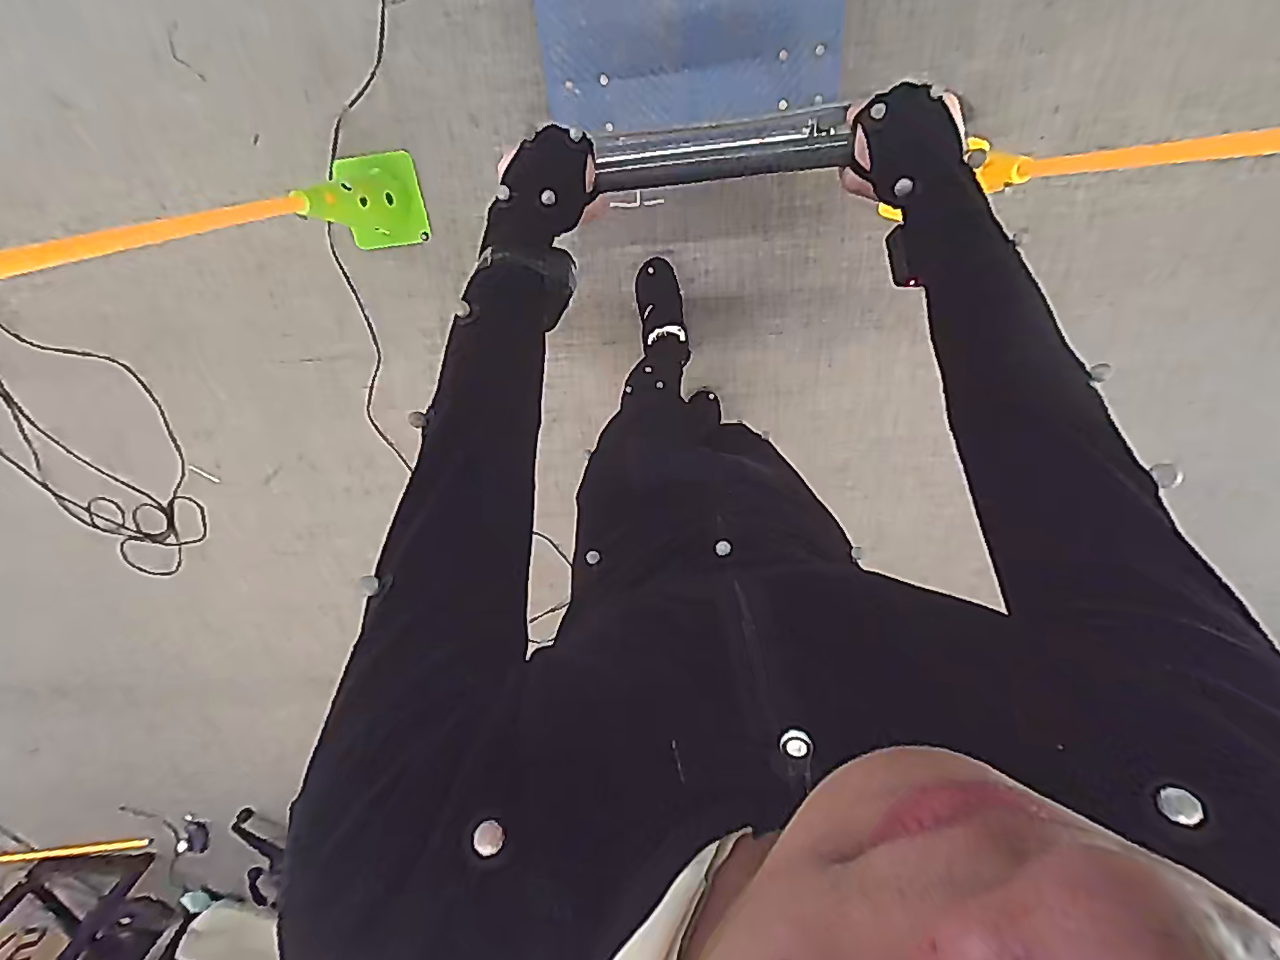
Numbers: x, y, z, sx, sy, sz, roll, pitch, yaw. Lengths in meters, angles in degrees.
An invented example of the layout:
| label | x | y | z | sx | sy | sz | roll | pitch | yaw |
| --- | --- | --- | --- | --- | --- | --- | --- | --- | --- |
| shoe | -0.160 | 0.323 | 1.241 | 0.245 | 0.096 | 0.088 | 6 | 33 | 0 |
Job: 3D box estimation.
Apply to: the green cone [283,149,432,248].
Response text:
| label | x | y | z | sx | sy | sz | roll | pitch | yaw |
| --- | --- | --- | --- | --- | --- | --- | --- | --- | --- |
| green cone | -0.640 | -0.612 | 1.179 | 0.202 | 0.368 | 0.200 | -5 | 116 | 7 |
